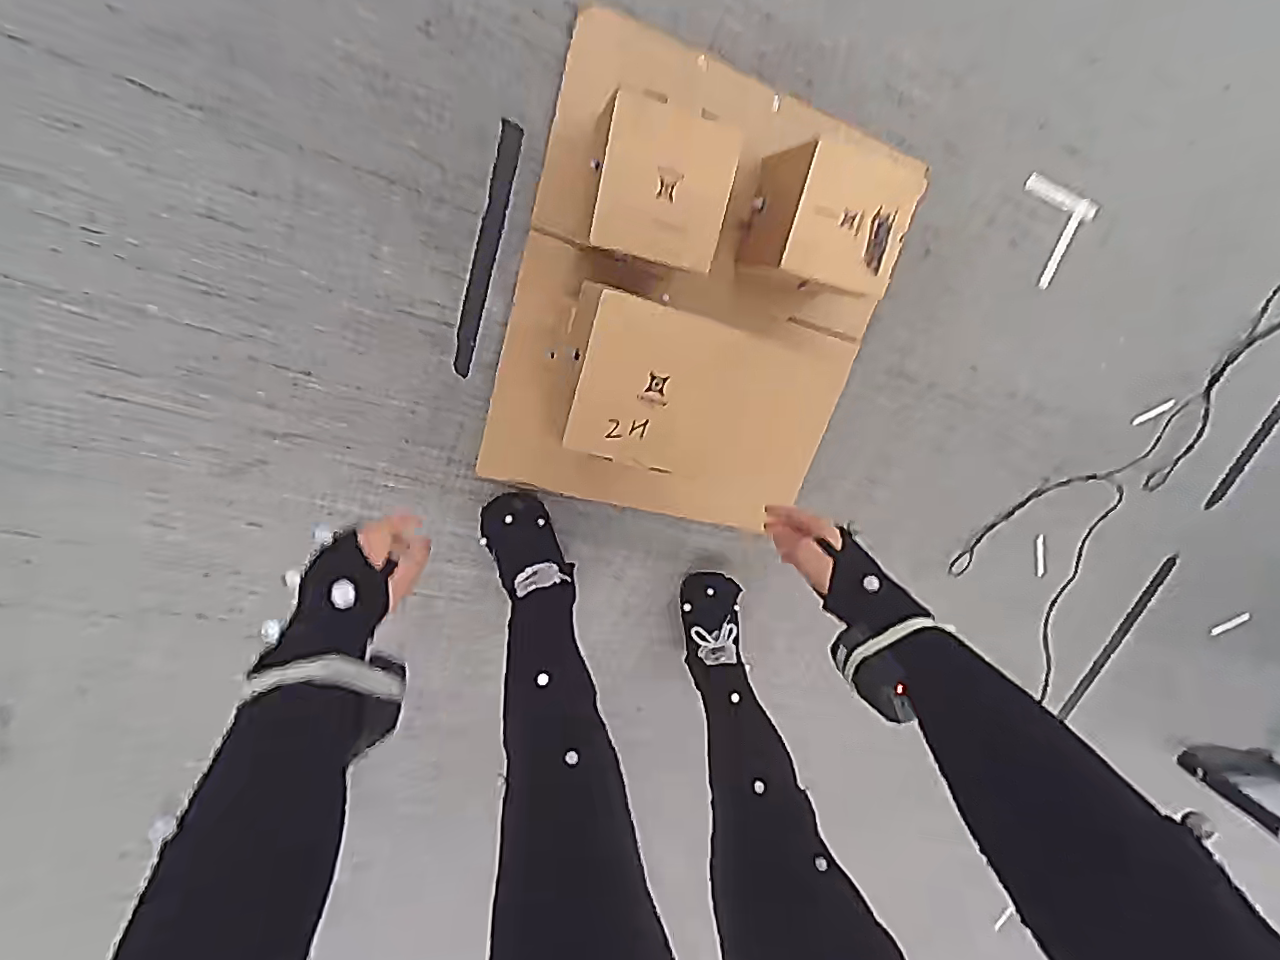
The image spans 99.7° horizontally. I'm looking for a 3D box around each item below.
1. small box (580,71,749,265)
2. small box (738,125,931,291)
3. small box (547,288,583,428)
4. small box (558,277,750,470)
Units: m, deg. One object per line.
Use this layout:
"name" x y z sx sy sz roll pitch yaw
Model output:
"small box" 0.019 -0.400 0.729 0.168 0.176 0.179 8 110 -16
"small box" 0.272 -0.388 0.795 0.179 0.176 0.168 8 110 -17
"small box" -0.042 -0.174 0.804 0.168 0.176 0.179 7 111 -17
"small box" 0.002 -0.134 0.648 0.168 0.176 0.179 12 109 -17
